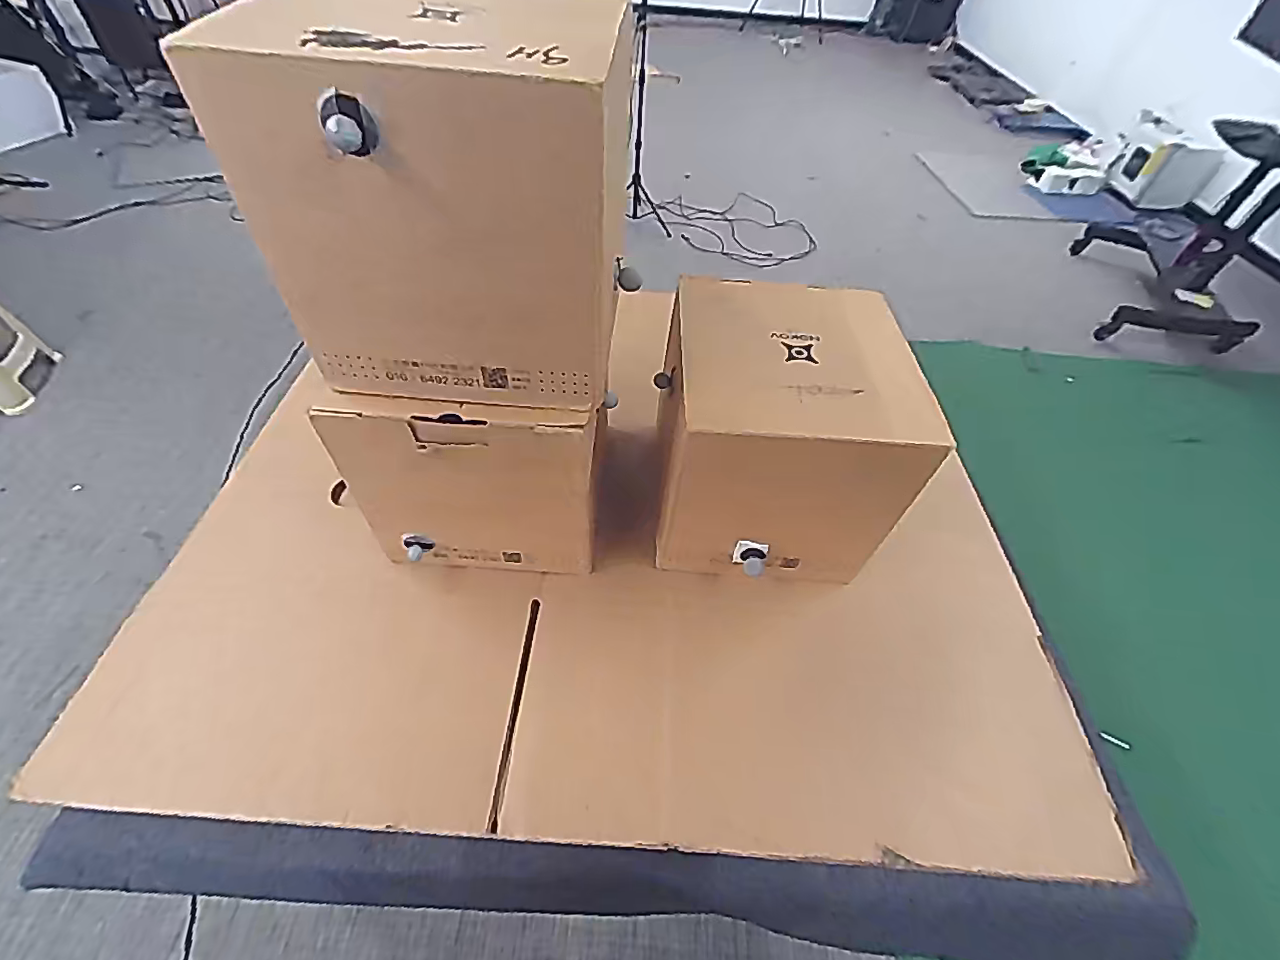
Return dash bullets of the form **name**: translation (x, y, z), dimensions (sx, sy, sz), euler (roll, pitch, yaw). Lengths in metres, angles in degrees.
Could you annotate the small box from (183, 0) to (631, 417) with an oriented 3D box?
- **small box**: translation (-0.098, -0.163, 0.324), dimensions (0.168, 0.176, 0.179), euler (5, 49, 0)
